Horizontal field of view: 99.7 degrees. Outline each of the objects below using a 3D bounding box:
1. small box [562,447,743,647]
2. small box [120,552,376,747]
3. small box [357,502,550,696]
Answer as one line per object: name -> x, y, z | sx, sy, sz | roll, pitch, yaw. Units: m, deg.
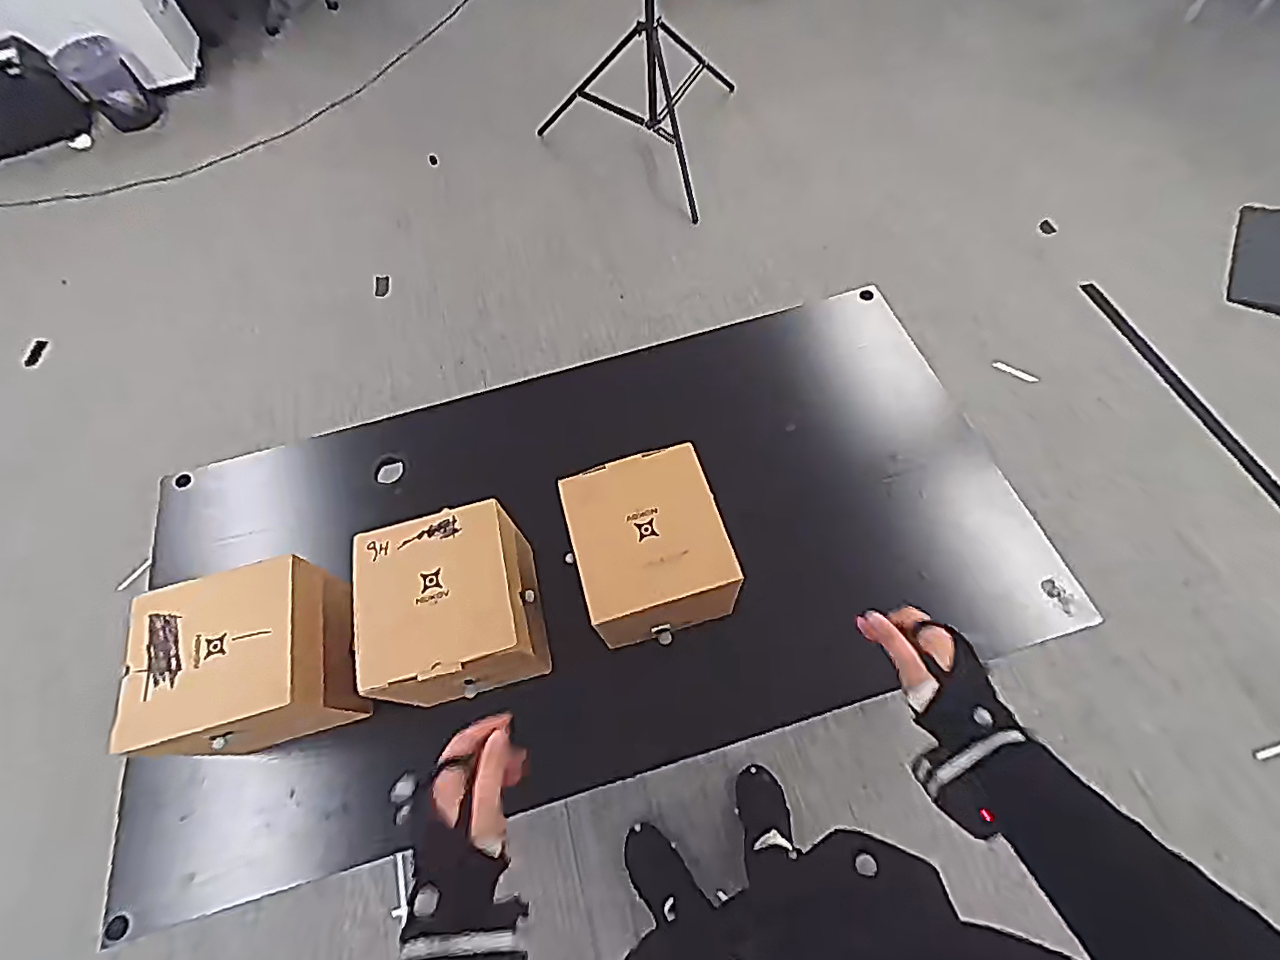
small box -> 0.014, 0.090, 0.670 | 0.168, 0.176, 0.179 | -17, 65, -3
small box -> -0.441, 0.207, 0.640 | 0.179, 0.176, 0.168 | -15, 64, -5
small box -> -0.215, 0.153, 0.652 | 0.168, 0.176, 0.179 | -15, 64, -3
